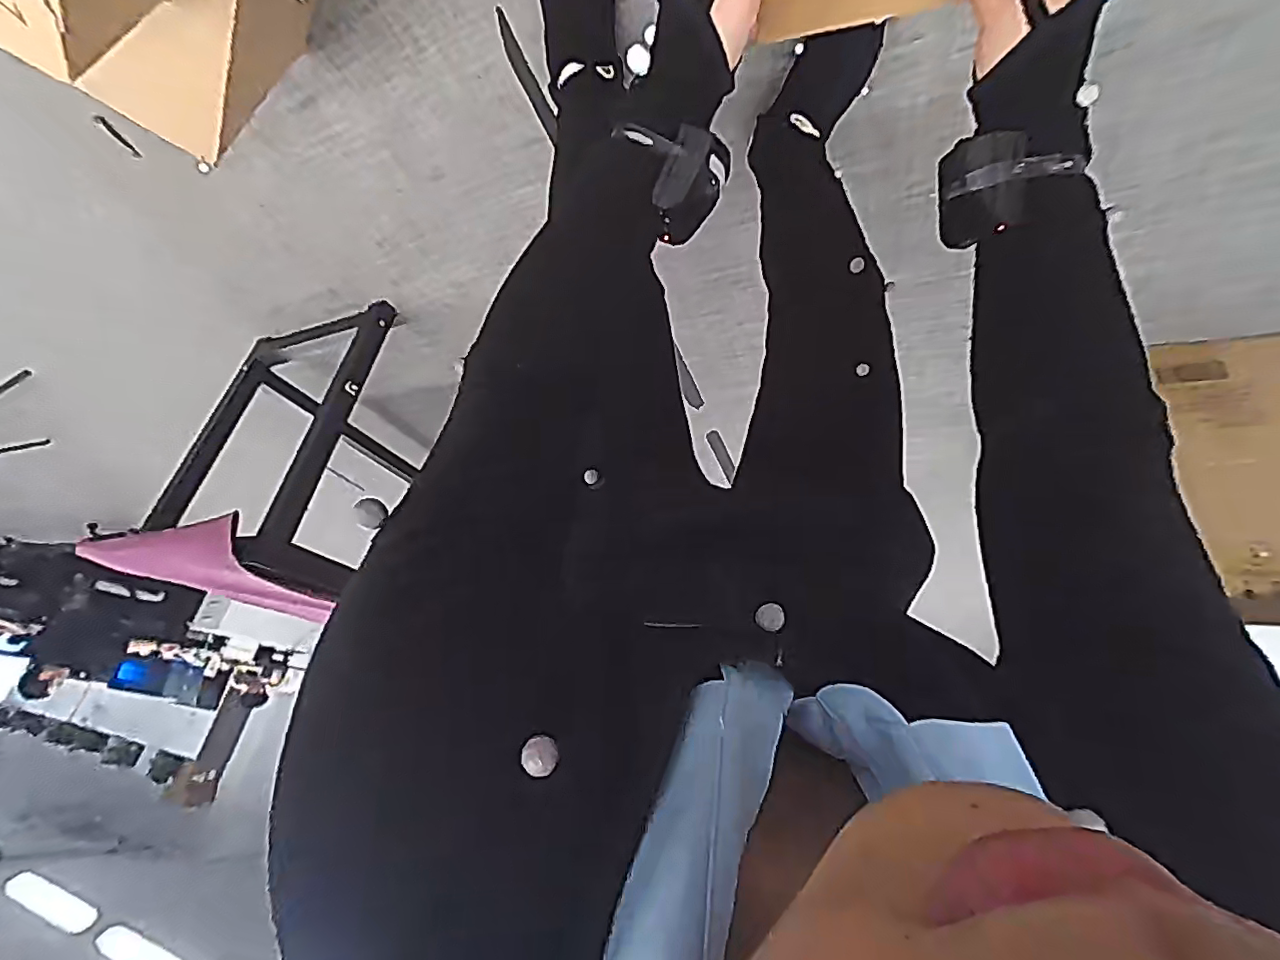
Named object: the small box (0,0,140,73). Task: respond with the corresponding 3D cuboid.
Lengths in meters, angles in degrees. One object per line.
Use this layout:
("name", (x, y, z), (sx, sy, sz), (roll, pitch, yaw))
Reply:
("small box", (-0.538, -0.504, 0.440), (0.179, 0.176, 0.168), (26, 150, -31))

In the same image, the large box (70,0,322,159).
("large box", (-0.560, -0.699, 0.614), (0.320, 0.320, 0.408), (28, 149, -31))
